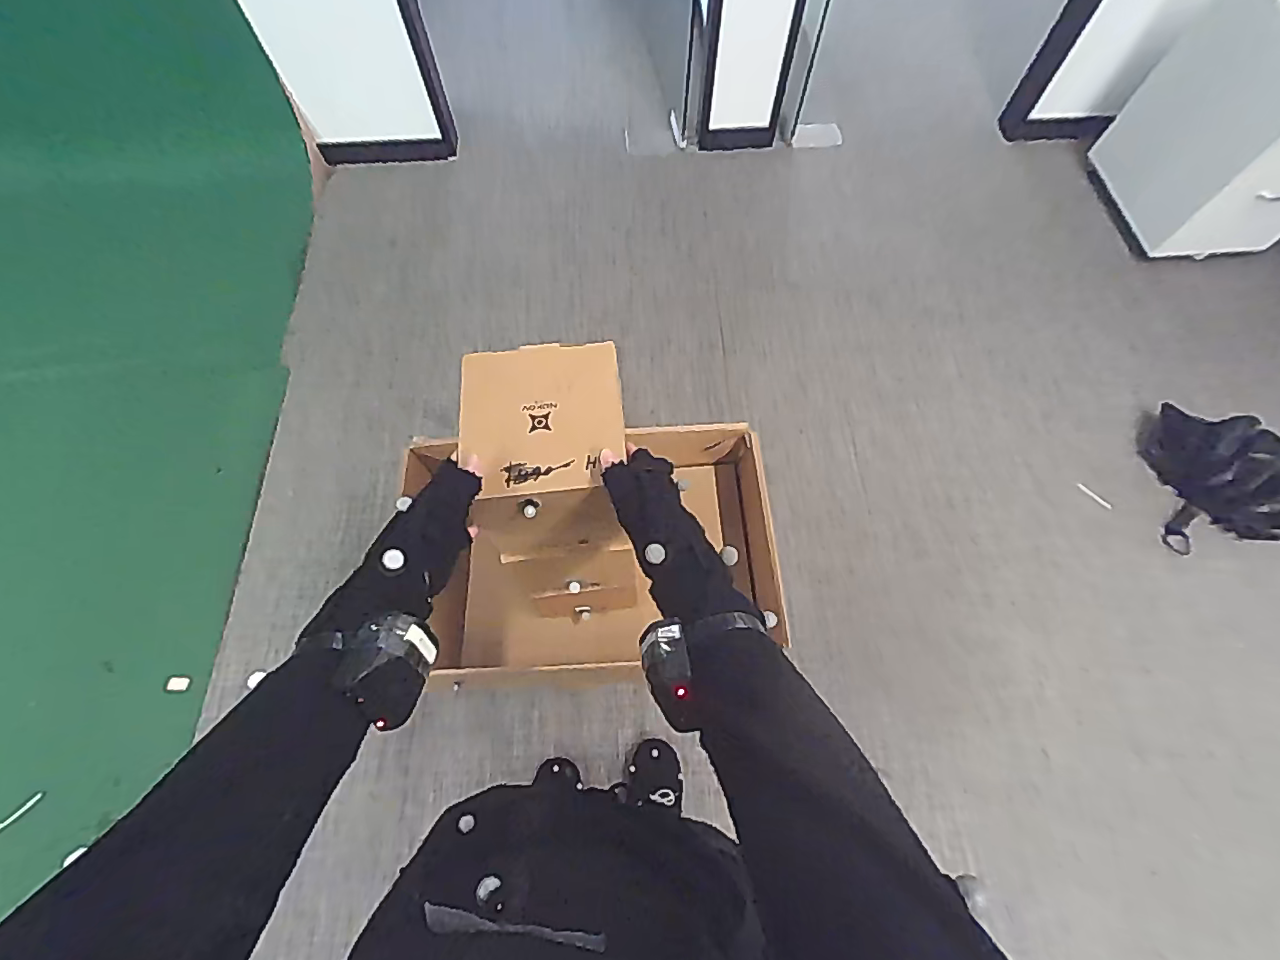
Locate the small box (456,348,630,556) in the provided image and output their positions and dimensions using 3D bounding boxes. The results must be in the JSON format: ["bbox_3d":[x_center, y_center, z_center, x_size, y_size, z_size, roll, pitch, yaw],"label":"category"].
[{"bbox_3d":[-0.102,-0.026,0.626,0.168,0.176,0.179,-6,64,-1],"label":"small box"}]

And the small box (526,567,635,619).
[{"bbox_3d":[-0.099,0.125,0.916,0.168,0.176,0.179,-7,65,-3],"label":"small box"}]

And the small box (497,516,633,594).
[{"bbox_3d":[-0.099,0.052,0.769,0.168,0.176,0.179,-5,65,-1],"label":"small box"}]
